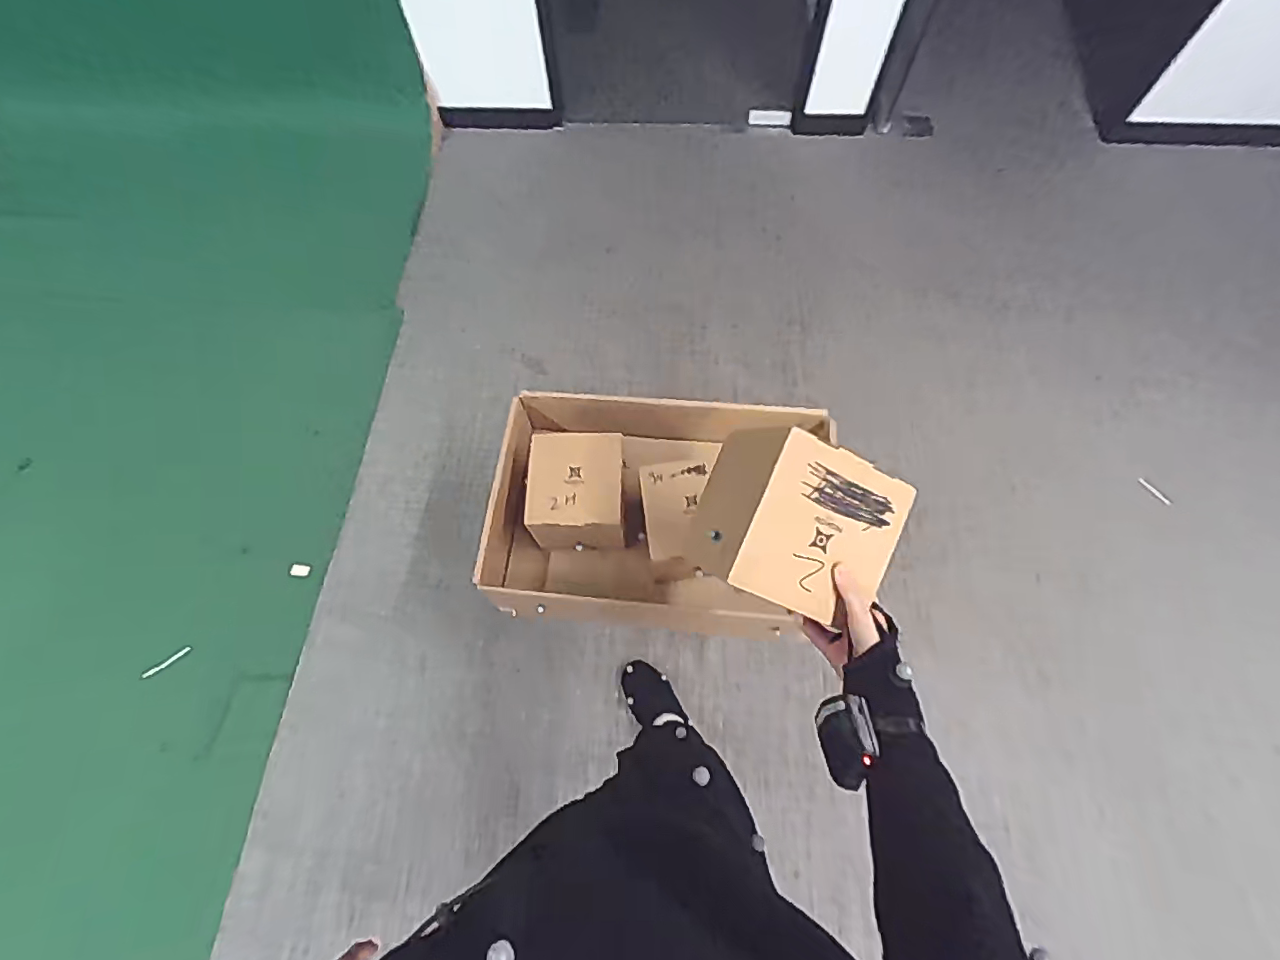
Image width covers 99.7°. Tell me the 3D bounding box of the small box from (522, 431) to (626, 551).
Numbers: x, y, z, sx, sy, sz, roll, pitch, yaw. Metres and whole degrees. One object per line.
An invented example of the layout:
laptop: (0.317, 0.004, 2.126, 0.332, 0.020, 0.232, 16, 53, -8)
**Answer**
small box: (-0.114, 0.024, 1.011, 0.168, 0.176, 0.179, 1, 67, 2)

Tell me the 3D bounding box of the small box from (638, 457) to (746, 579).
small box: (0.088, 0.077, 0.985, 0.168, 0.176, 0.179, -6, 67, -2)
